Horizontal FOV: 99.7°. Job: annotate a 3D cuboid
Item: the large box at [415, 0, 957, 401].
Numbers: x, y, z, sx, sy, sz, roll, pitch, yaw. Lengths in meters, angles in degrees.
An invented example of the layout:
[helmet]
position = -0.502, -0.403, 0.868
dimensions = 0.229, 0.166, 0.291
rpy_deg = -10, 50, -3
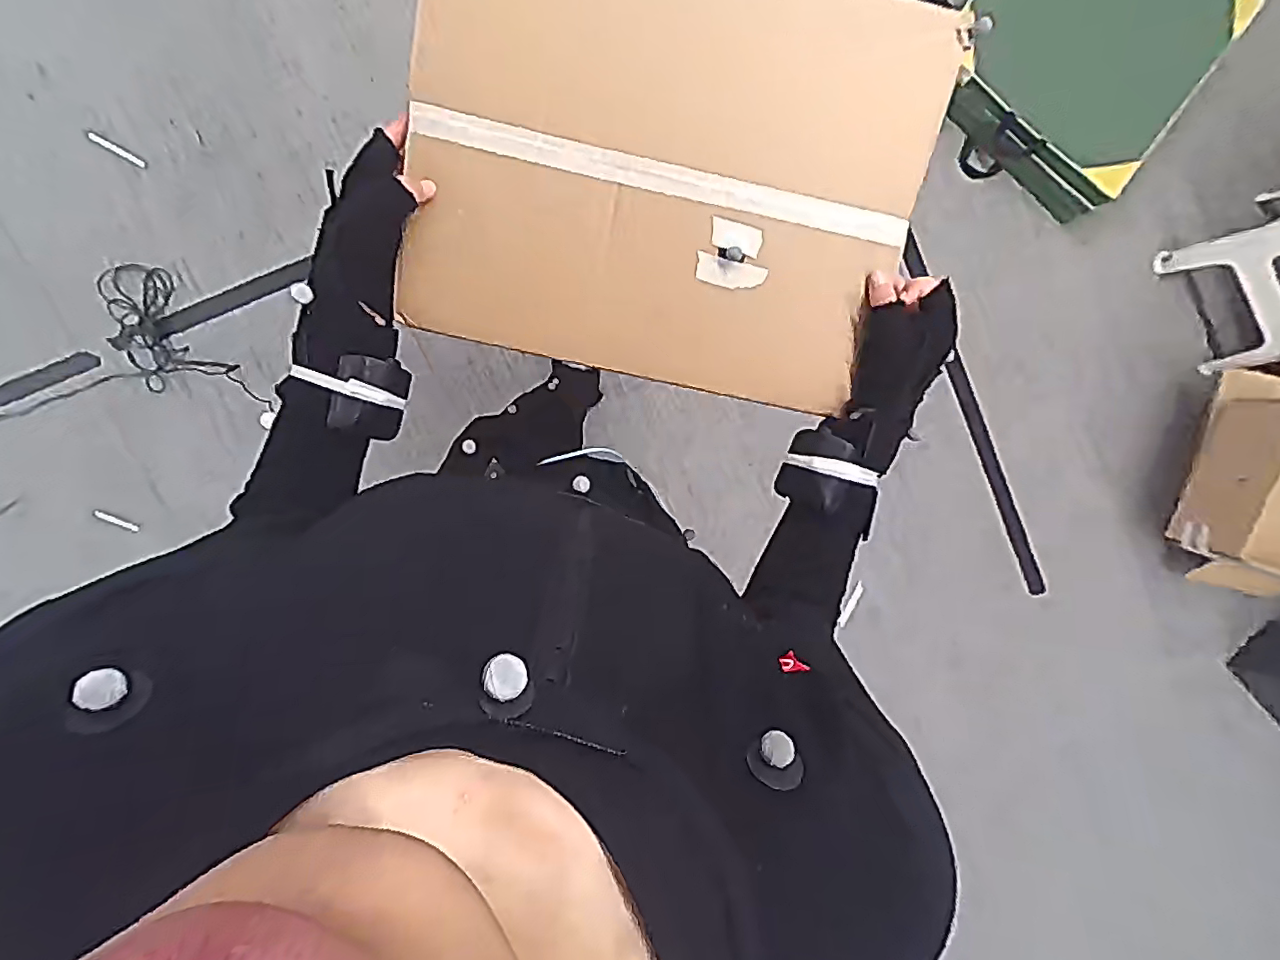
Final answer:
[large box]
position = 0.020, -0.291, 0.588
dimensions = 0.408, 0.320, 0.320
rpy_deg = 11, 106, -5
